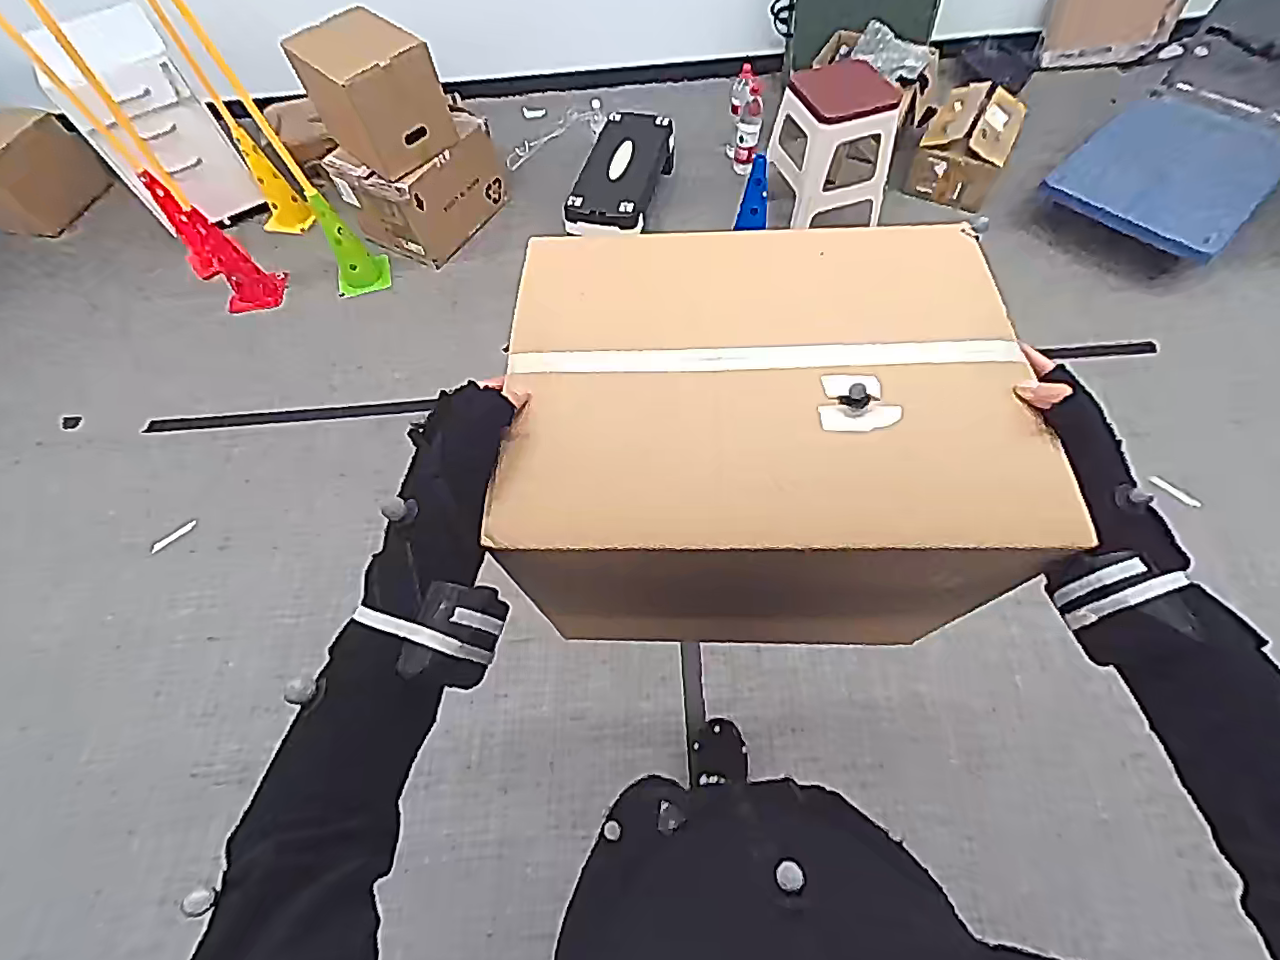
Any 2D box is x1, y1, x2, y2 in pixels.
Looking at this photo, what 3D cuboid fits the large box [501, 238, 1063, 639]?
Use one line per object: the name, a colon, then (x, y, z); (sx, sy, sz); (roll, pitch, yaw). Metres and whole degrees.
large box: (0.102, -0.021, 0.580); (0.408, 0.320, 0.320); (-1, 62, 3)
